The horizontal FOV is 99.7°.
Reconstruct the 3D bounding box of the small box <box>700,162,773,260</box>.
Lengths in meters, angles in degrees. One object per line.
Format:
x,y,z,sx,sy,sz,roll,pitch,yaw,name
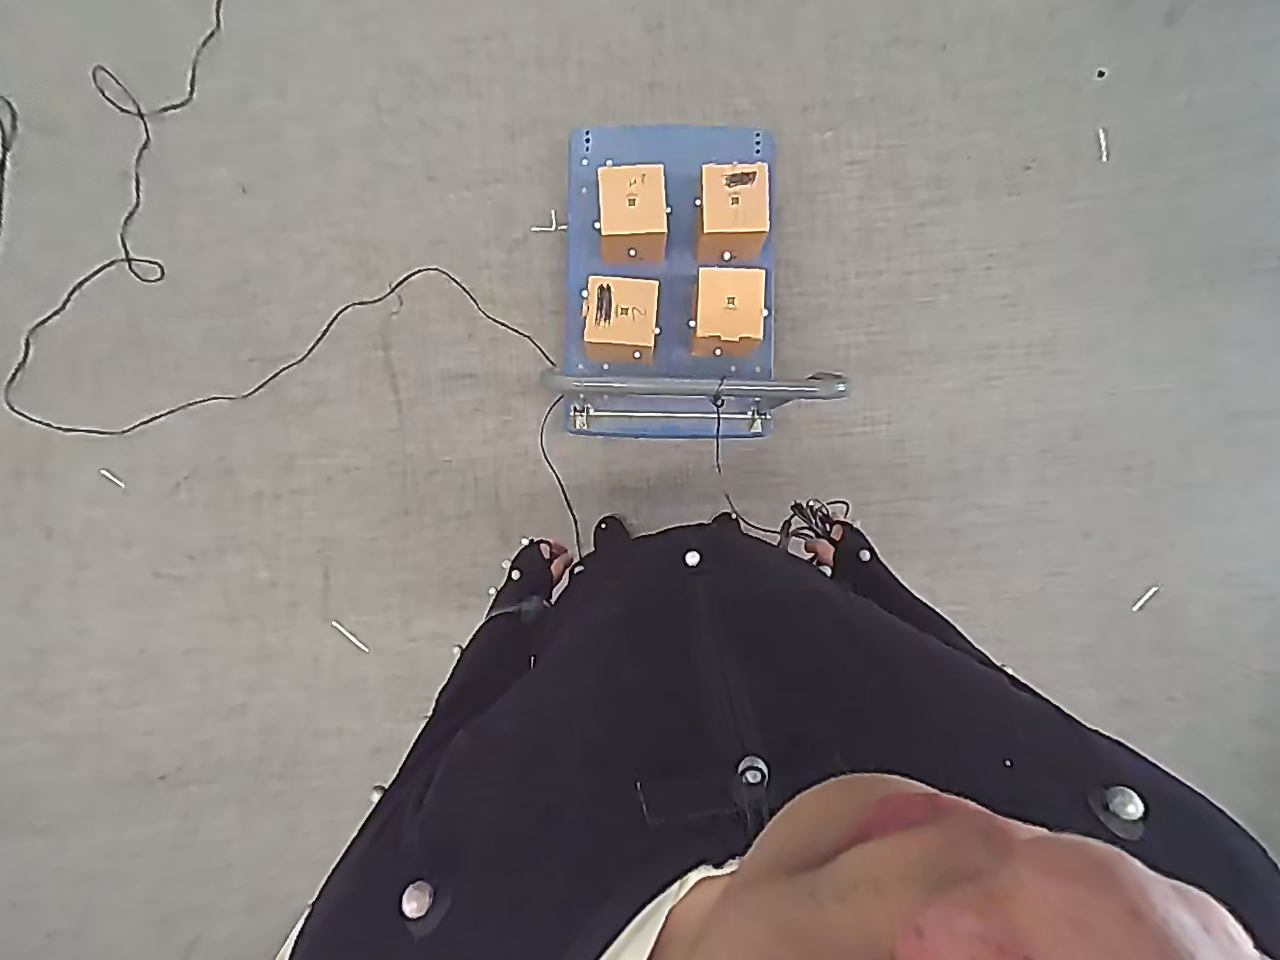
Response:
0.246,-0.697,1.412,0.168,0.176,0.179,-1,89,1,small box

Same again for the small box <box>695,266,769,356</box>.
0.233,-0.434,1.405,0.168,0.176,0.179,2,89,0,small box

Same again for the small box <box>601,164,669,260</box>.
-0.011,-0.691,1.414,0.168,0.176,0.179,-3,88,0,small box
